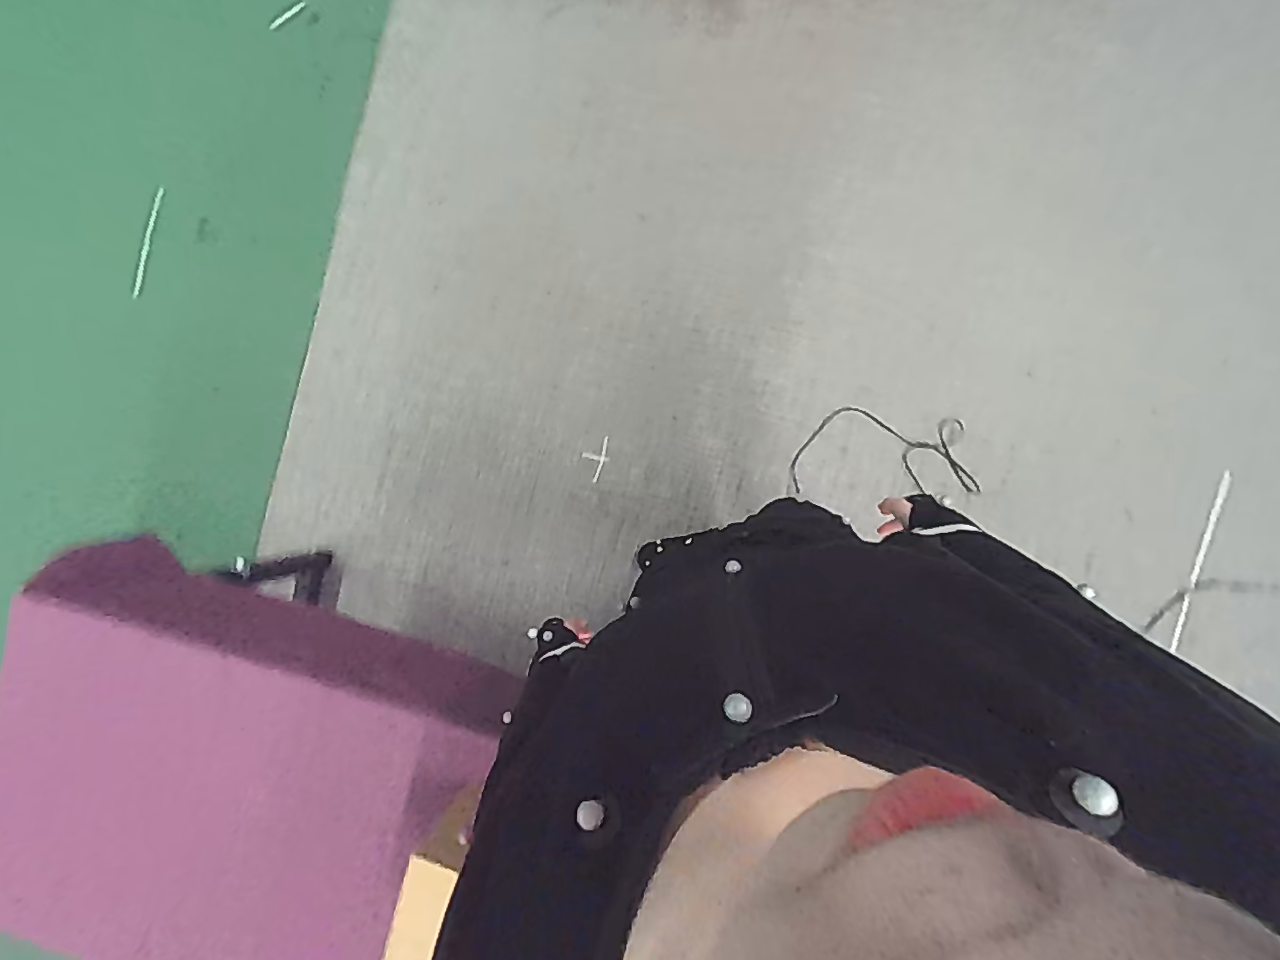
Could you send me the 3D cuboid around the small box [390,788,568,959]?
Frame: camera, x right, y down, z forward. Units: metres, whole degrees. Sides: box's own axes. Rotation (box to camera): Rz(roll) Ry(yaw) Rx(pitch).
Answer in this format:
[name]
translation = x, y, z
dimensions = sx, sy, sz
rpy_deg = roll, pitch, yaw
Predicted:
[small box]
translation = -0.211, 0.571, 0.749
dimensions = 0.168, 0.176, 0.179
rpy_deg = 15, 94, 9
